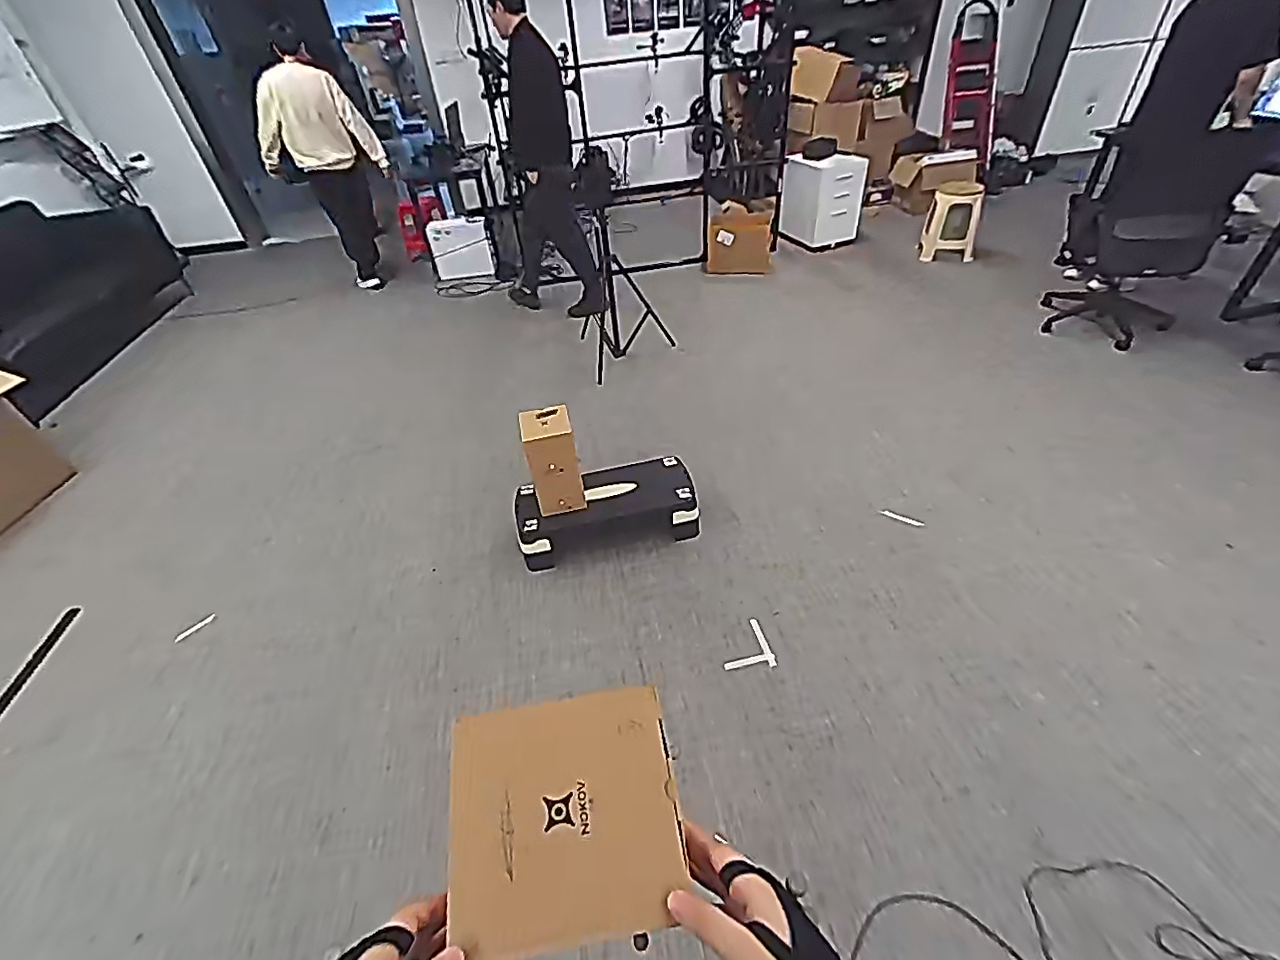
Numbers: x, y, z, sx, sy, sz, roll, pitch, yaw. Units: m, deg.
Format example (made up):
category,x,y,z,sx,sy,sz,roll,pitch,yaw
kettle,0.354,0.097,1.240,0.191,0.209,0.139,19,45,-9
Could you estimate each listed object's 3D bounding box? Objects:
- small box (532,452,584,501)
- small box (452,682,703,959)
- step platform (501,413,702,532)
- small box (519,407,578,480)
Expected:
category,x,y,z,sx,sy,sz,roll,pitch,yaw
small box,-0.298,0.002,1.957,0.168,0.176,0.179,-12,40,-7
small box,-0.054,0.297,0.478,0.179,0.176,0.168,-10,54,-5
step platform,-0.131,-0.027,1.916,0.684,0.204,0.286,-11,40,-7
small box,-0.314,-0.126,1.855,0.168,0.176,0.179,-12,41,-7
